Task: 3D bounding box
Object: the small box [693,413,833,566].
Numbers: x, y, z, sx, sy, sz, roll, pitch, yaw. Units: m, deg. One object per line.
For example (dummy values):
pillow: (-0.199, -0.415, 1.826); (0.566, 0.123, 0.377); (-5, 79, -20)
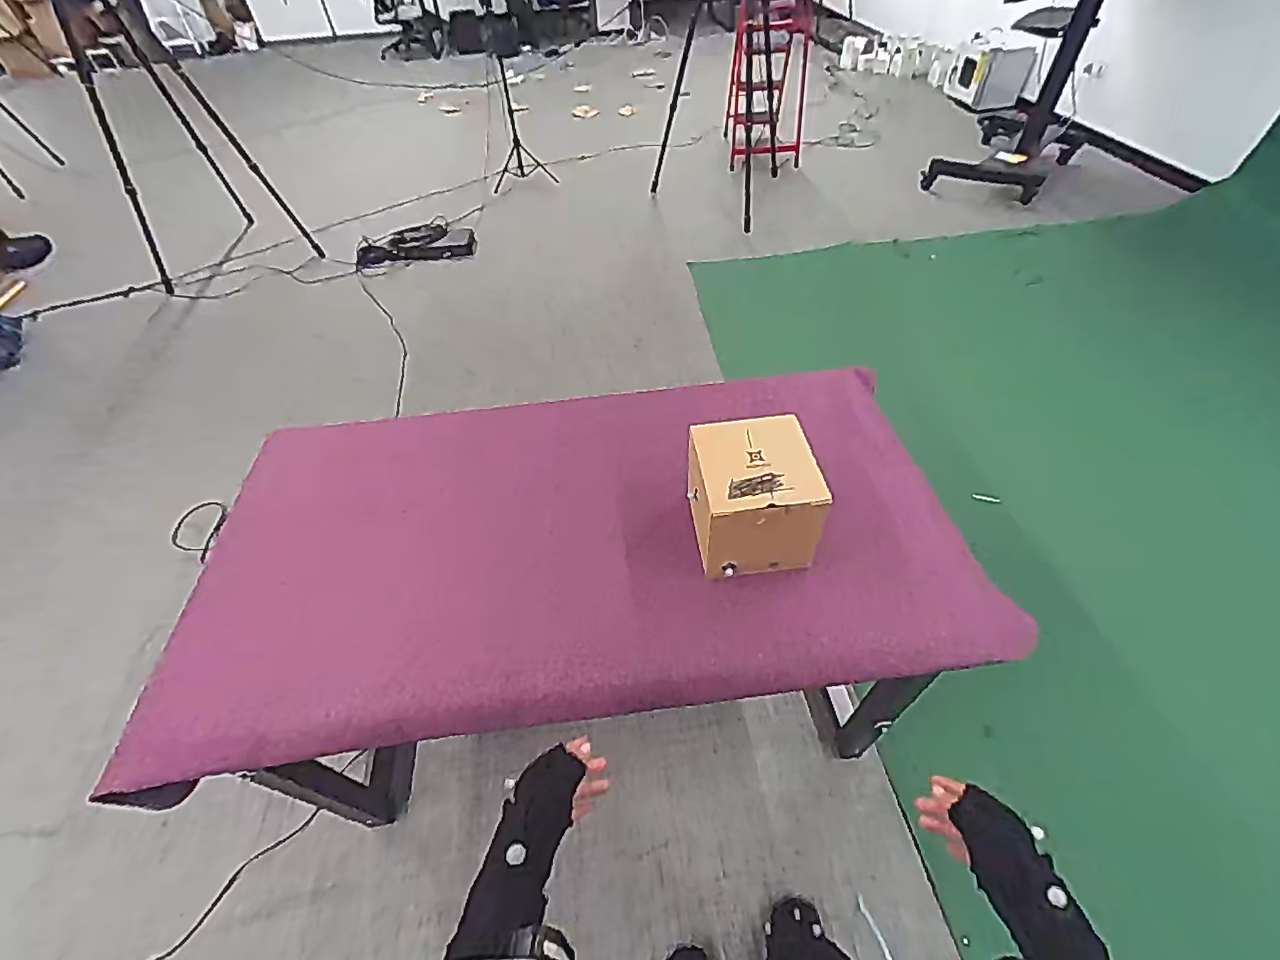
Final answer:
small box: (0.173, 0.021, 0.822); (0.168, 0.176, 0.179); (-3, 50, -1)
